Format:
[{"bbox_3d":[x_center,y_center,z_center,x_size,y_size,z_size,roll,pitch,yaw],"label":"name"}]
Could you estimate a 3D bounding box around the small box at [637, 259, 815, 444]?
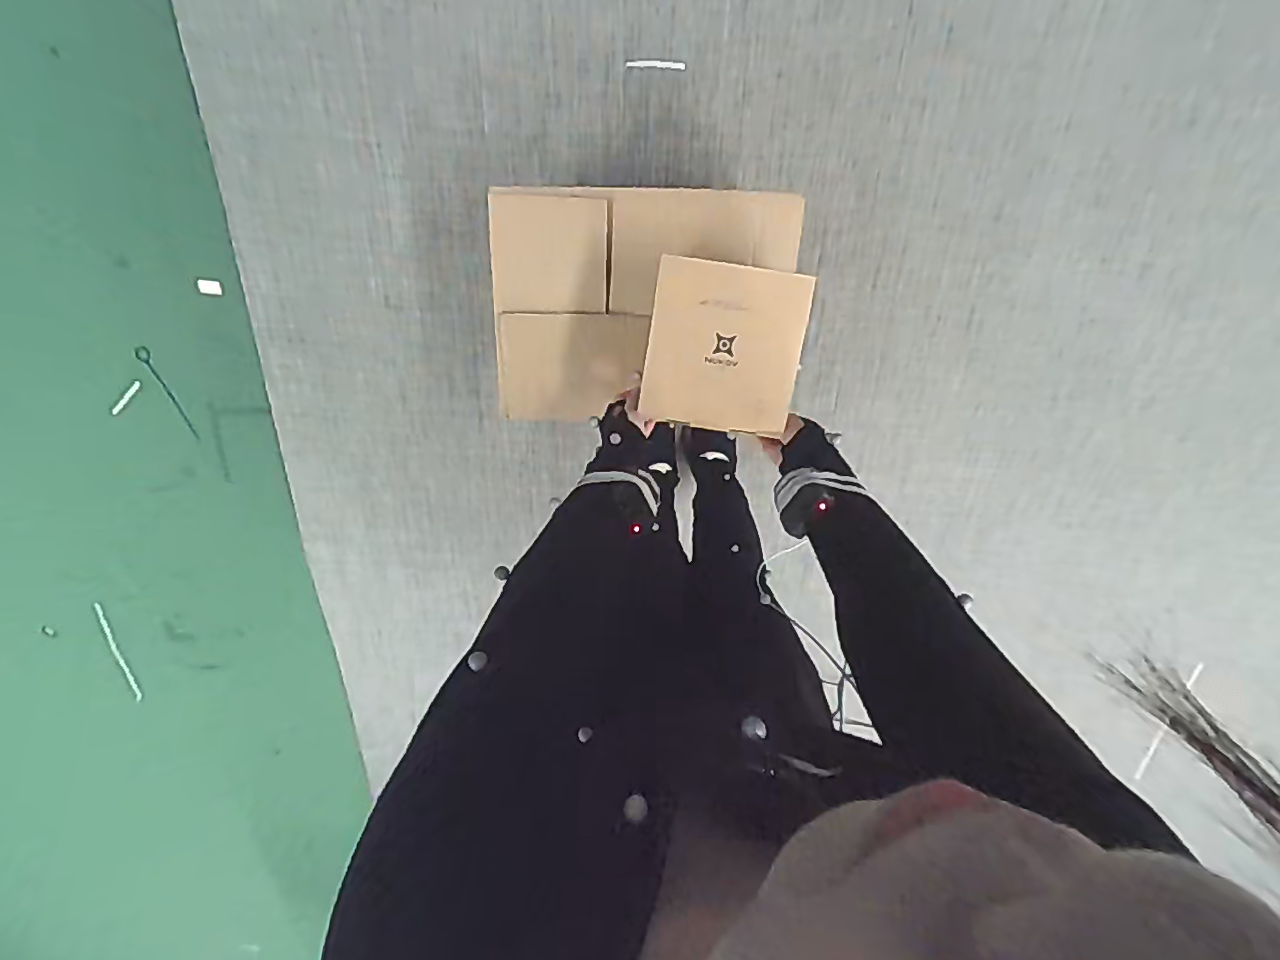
[{"bbox_3d":[0.094,-0.151,0.657,0.168,0.176,0.179,8,101,1],"label":"small box"}]
